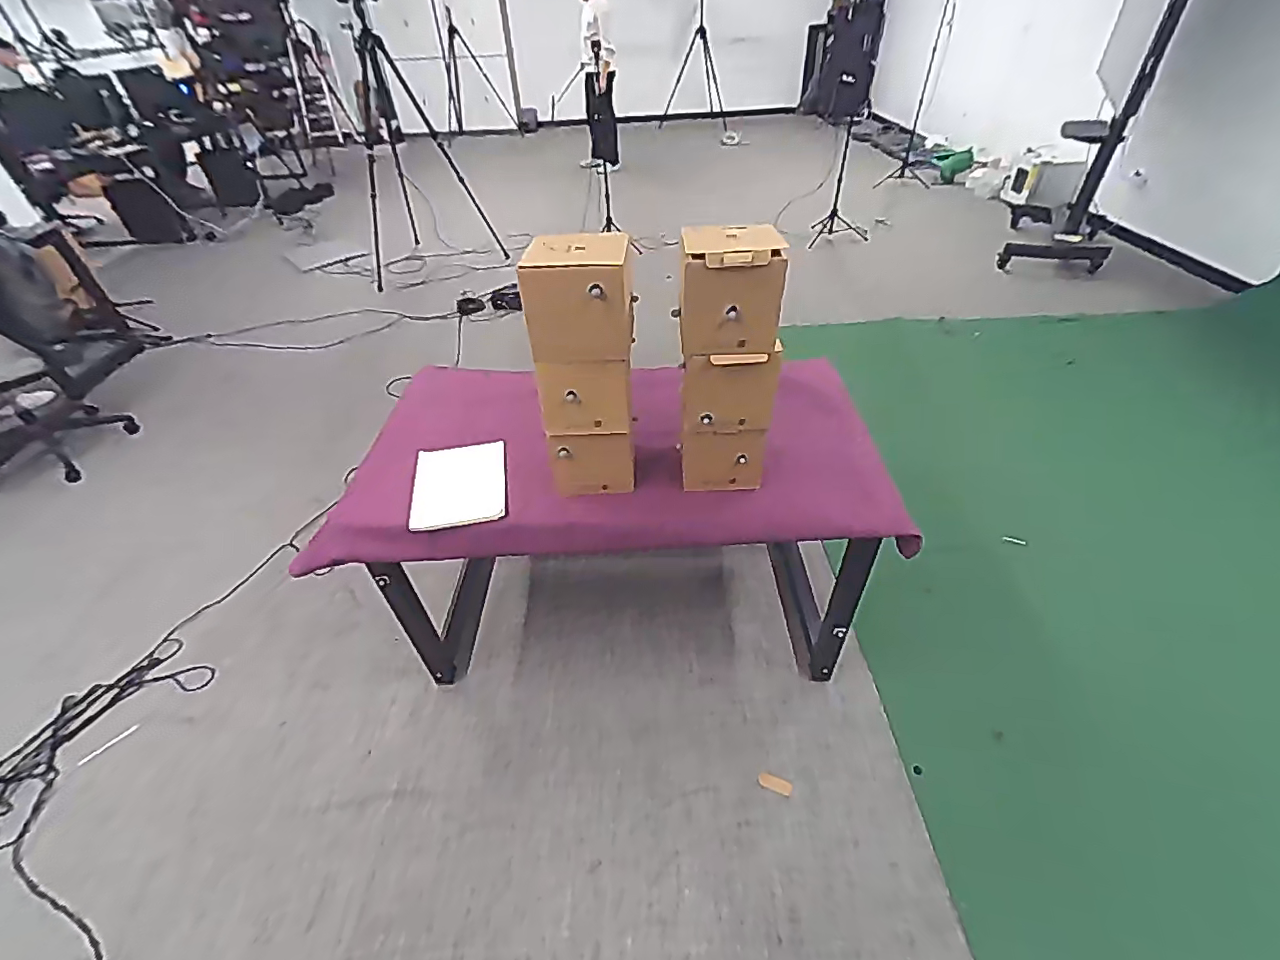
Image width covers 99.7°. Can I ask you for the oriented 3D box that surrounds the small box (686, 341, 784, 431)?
[{"bbox_3d":[0.179,-0.208,1.073,0.168,0.176,0.179,-1,40,0],"label":"small box"}]

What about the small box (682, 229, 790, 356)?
[{"bbox_3d":[0.161,-0.332,0.967,0.168,0.176,0.179,0,41,2],"label":"small box"}]

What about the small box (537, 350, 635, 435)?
[{"bbox_3d":[-0.097,-0.200,1.079,0.168,0.176,0.179,-1,40,2],"label":"small box"}]

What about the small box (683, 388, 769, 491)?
[{"bbox_3d":[0.180,-0.088,1.184,0.168,0.176,0.179,-1,40,2],"label":"small box"}]

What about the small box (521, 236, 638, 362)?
[{"bbox_3d":[-0.096,-0.321,0.966,0.179,0.176,0.168,0,40,4],"label":"small box"}]
